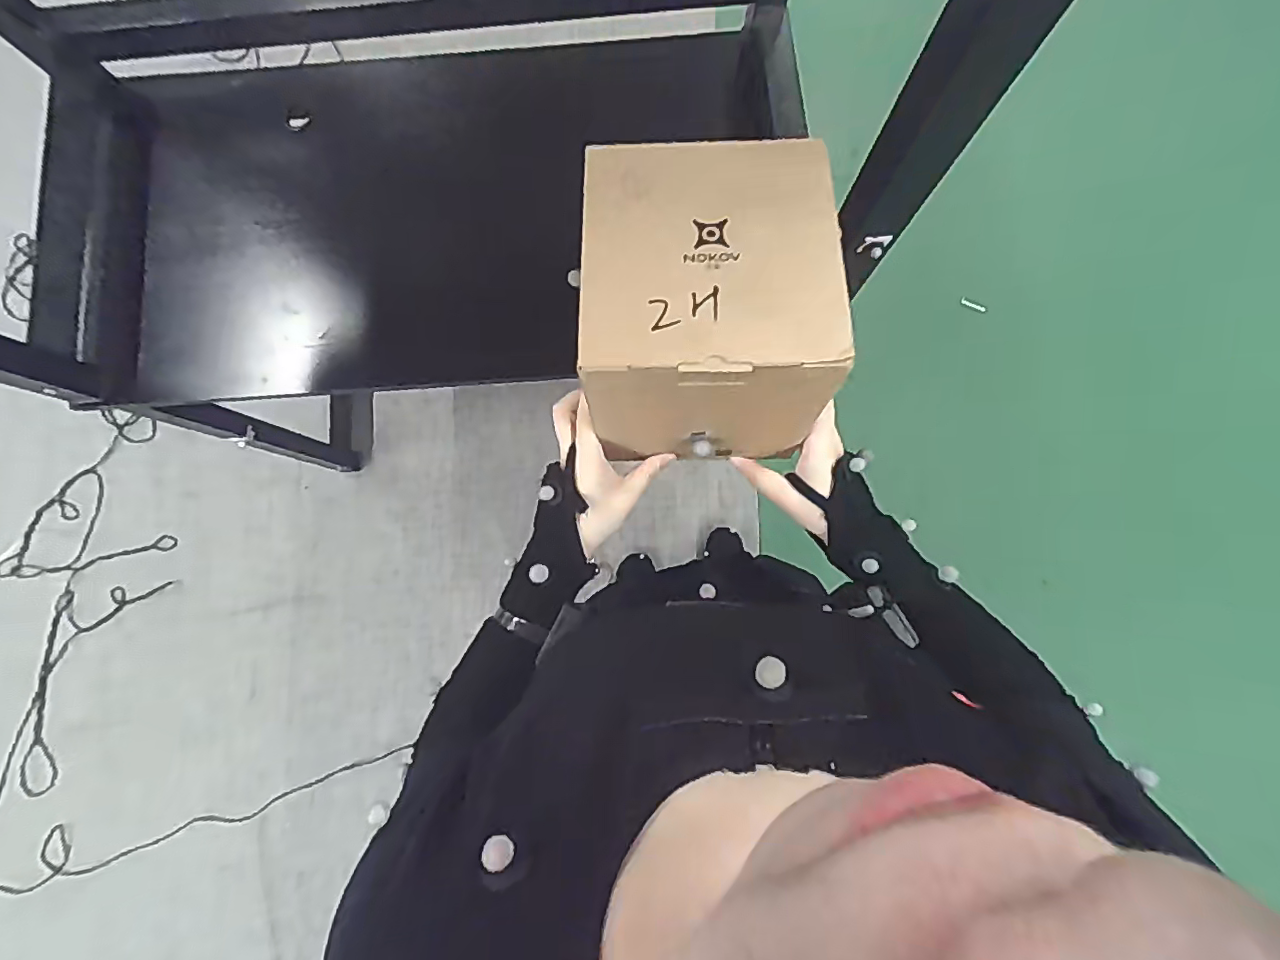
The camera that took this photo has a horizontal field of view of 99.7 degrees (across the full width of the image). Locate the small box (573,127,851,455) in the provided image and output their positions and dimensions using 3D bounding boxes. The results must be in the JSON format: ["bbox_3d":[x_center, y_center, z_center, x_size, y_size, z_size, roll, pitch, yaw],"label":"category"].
[{"bbox_3d":[0.047,-0.130,0.417,0.168,0.176,0.179,0,73,4],"label":"small box"}]
